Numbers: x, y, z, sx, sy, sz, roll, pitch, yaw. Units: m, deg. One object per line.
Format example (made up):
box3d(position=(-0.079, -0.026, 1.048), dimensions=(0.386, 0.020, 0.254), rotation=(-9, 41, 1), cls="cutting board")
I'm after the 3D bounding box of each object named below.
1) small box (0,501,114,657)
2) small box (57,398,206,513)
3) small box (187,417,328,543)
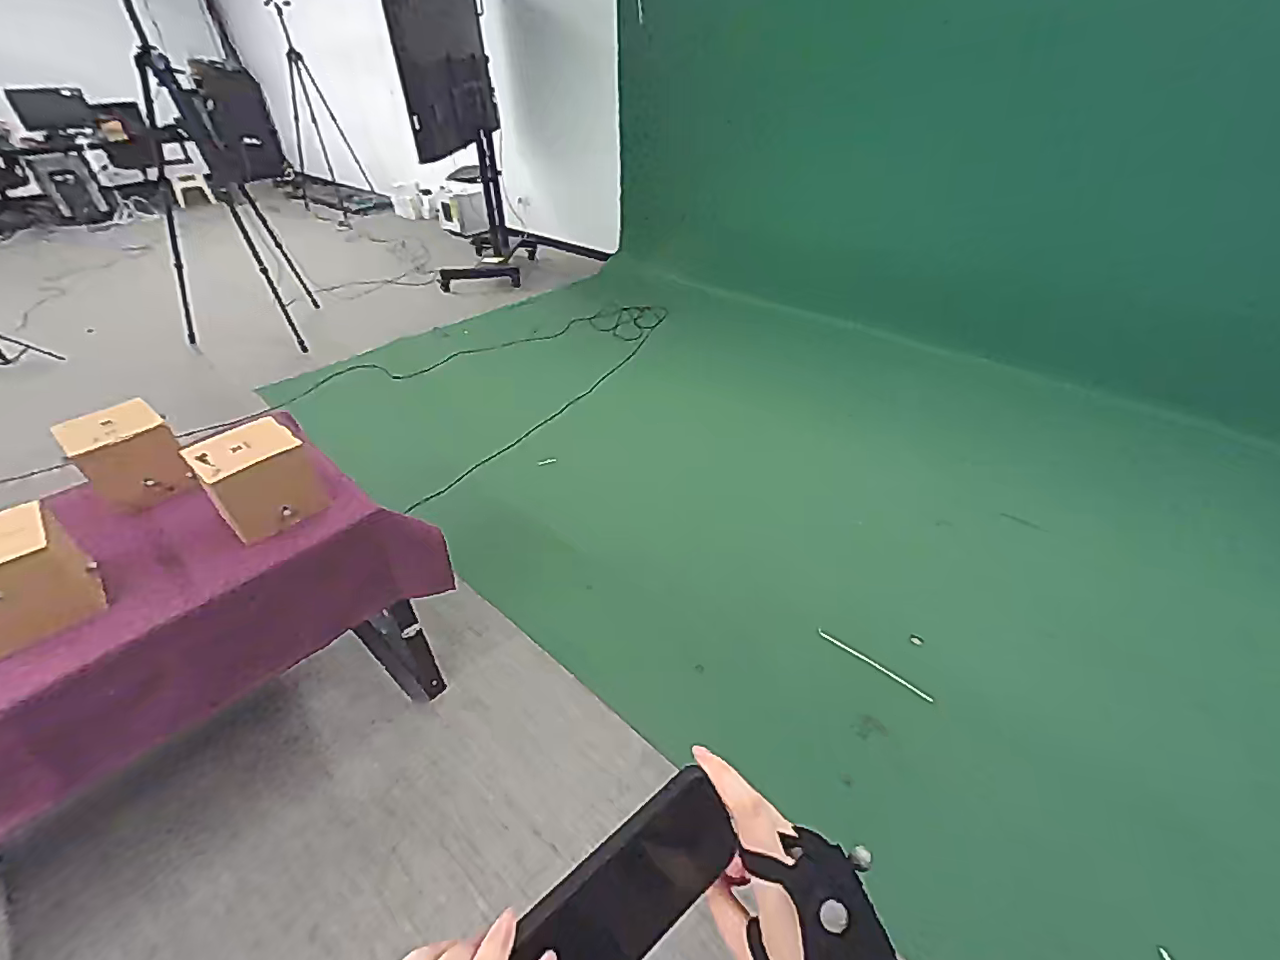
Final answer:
box3d(position=(-1.066, 0.172, 0.923), dimensions=(0.179, 0.176, 0.168), rotation=(-31, 48, -34), cls="small box")
box3d(position=(-1.124, -0.054, 1.204), dimensions=(0.179, 0.176, 0.168), rotation=(27, 47, 30), cls="small box")
box3d(position=(-0.789, -0.001, 1.137), dimensions=(0.168, 0.176, 0.179), rotation=(28, 46, 31), cls="small box")
